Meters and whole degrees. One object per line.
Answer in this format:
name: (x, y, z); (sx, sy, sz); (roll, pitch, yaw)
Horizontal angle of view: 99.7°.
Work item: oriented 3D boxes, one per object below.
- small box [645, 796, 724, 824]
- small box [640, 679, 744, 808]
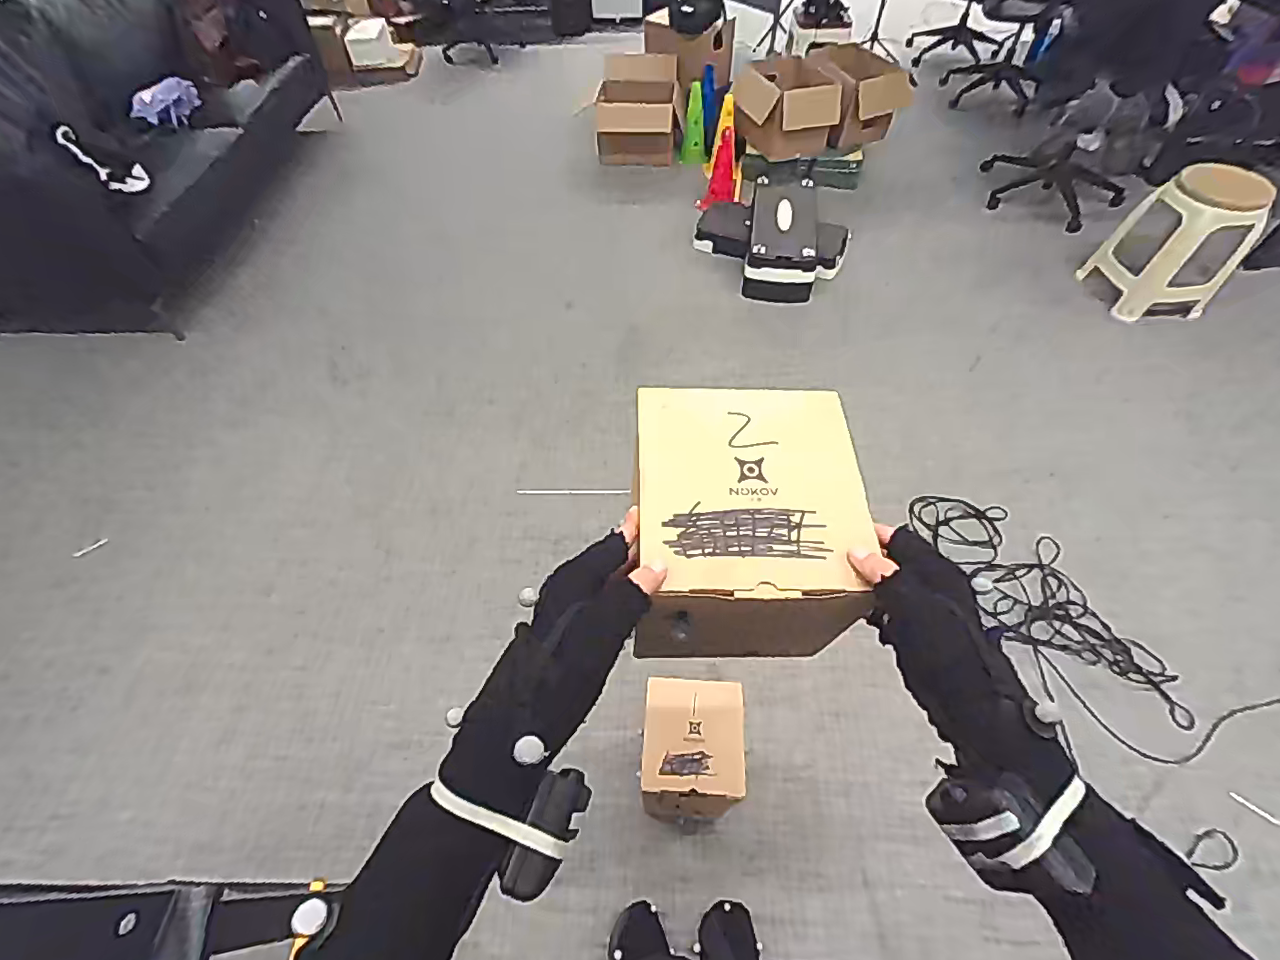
small box: (0.103, 0.660, 1.220); (0.168, 0.176, 0.179); (4, 55, 6)
small box: (0.091, 0.469, 0.956); (0.168, 0.176, 0.179); (3, 54, 4)
